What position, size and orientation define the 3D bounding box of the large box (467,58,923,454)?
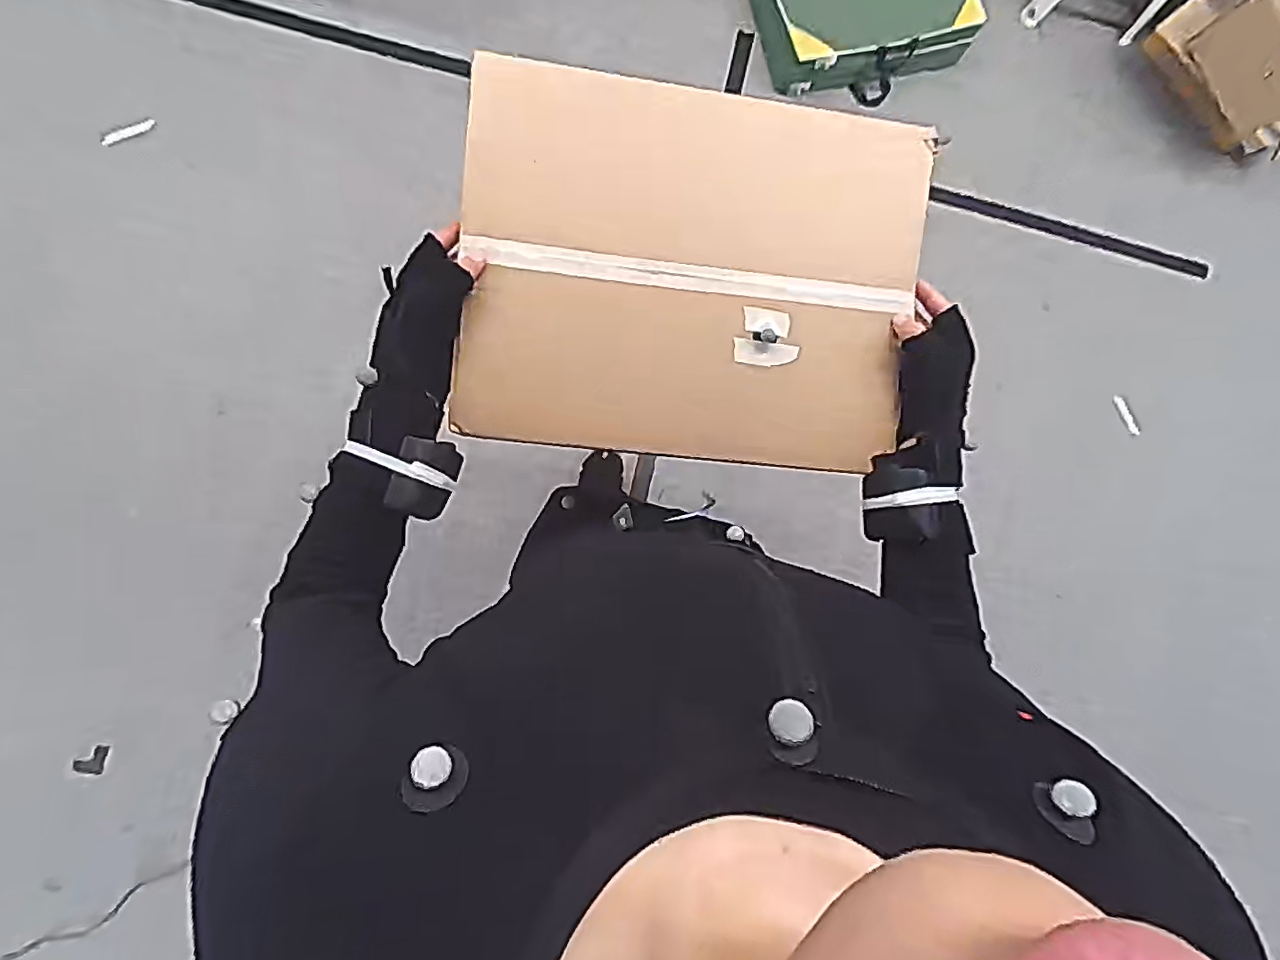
[{"bbox_3d":[0.036,-0.204,0.635,0.408,0.320,0.320,5,96,-7],"label":"large box"}]
